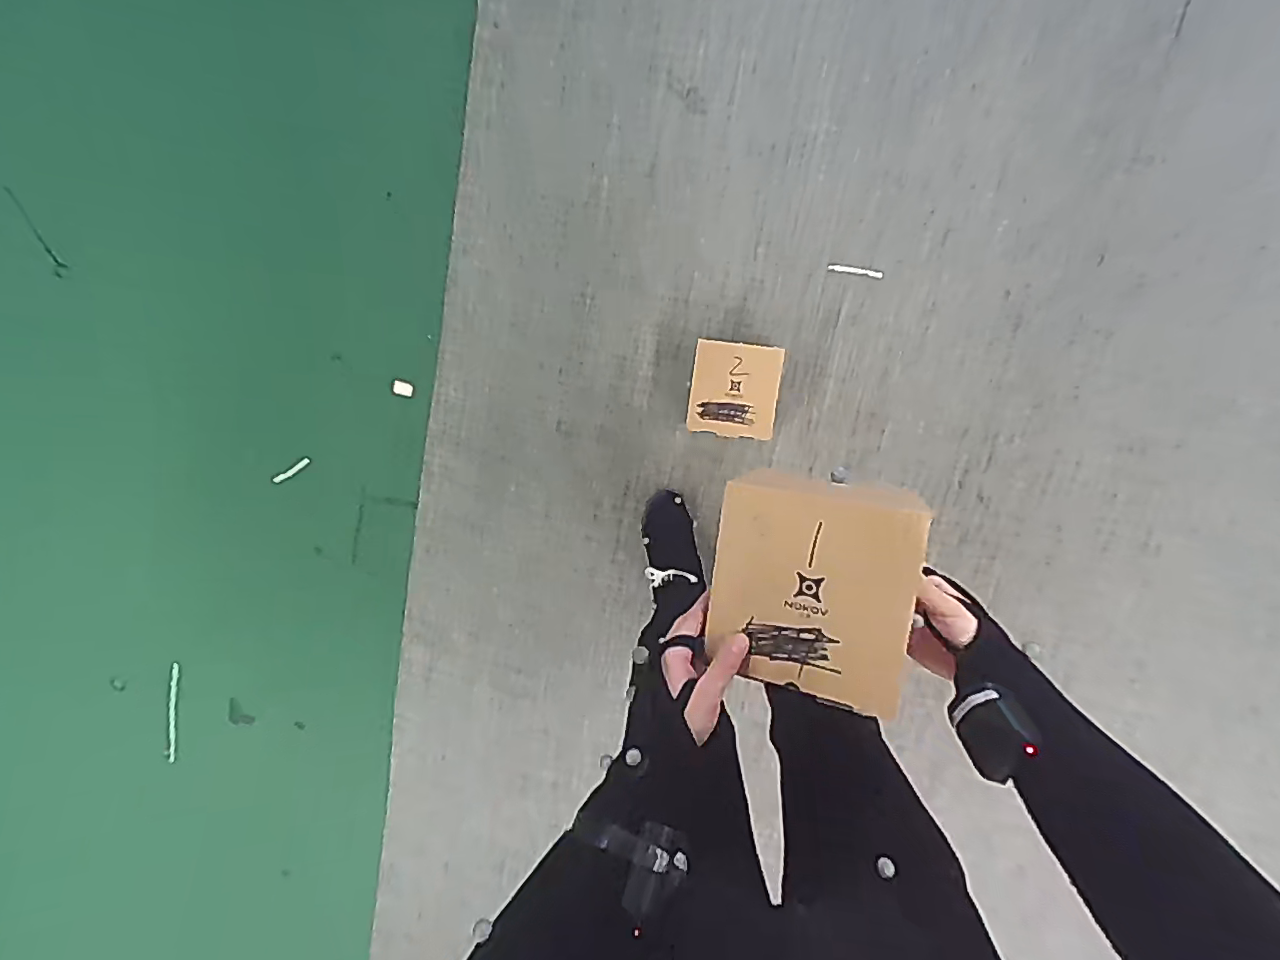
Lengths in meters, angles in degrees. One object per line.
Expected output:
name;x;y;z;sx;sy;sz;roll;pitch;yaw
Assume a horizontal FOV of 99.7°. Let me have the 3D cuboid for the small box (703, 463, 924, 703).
small box;0.173;0.083;0.542;0.168;0.176;0.179;9;98;21
